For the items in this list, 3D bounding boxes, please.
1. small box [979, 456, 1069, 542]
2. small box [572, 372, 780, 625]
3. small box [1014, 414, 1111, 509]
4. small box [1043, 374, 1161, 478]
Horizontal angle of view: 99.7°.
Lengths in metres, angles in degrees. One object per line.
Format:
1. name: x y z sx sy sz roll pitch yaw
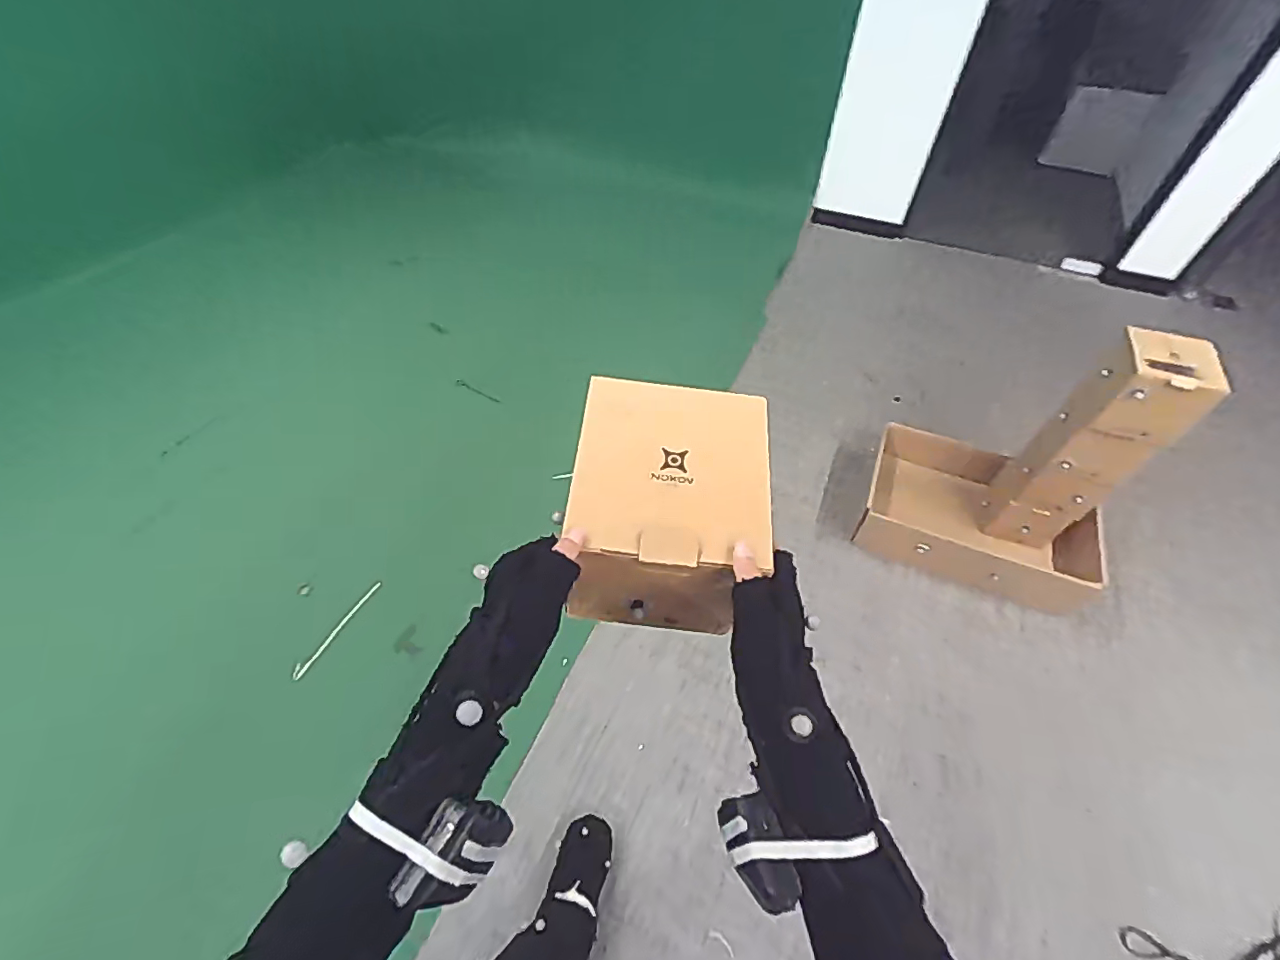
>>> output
1. small box: 1.146 0.061 1.628 0.168 0.176 0.179 14 53 13
2. small box: 0.028 0.025 0.524 0.168 0.176 0.179 7 60 -2
3. small box: 1.157 -0.047 1.482 0.168 0.176 0.179 19 55 15
4. small box: 1.151 -0.132 1.362 0.168 0.176 0.179 20 55 15
